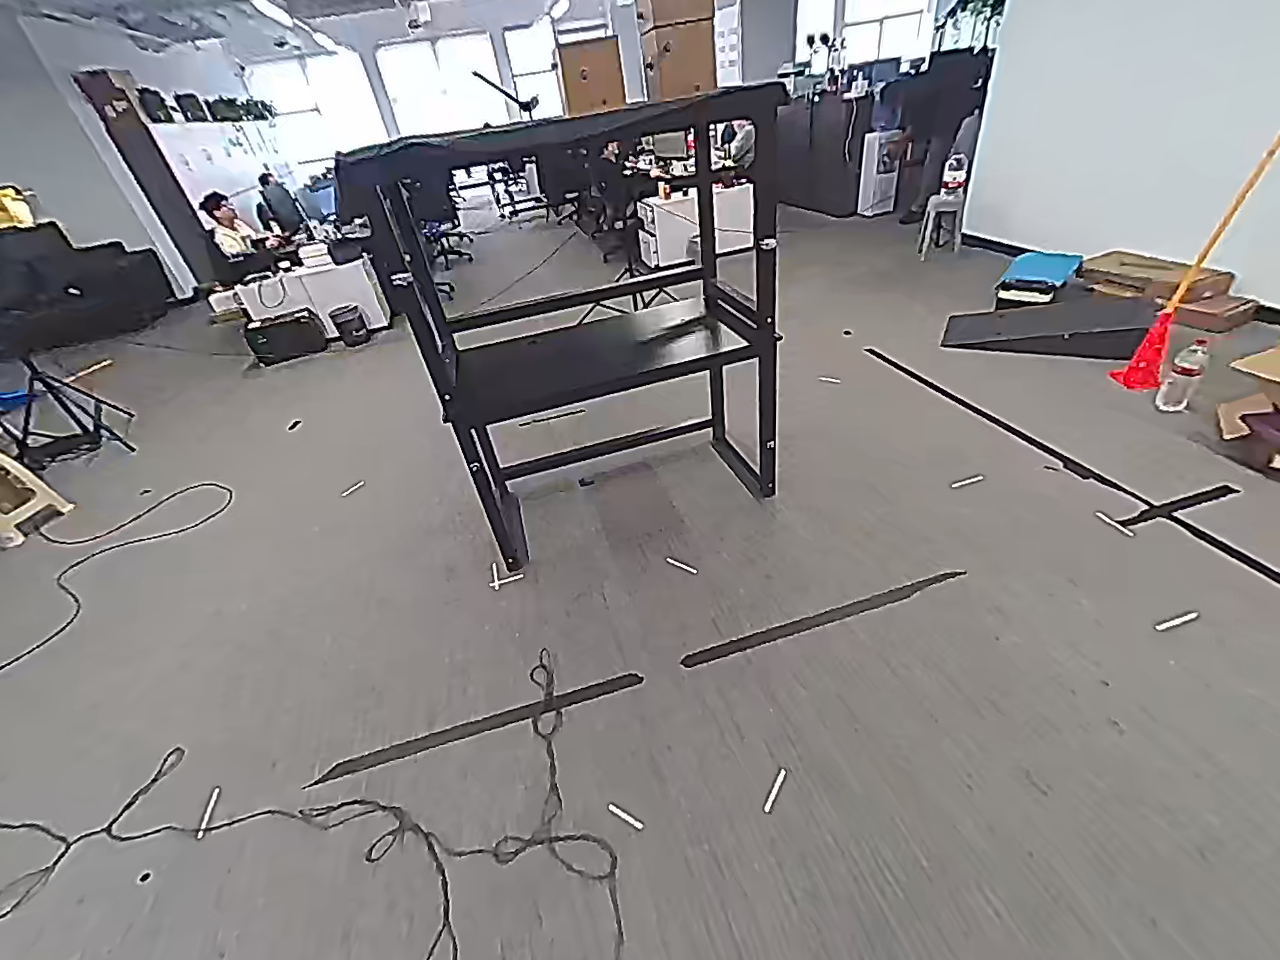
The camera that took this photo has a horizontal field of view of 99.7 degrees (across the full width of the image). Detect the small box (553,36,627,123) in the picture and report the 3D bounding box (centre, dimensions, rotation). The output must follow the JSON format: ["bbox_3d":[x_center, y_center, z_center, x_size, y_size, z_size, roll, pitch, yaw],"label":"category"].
[{"bbox_3d":[-0.140,-1.119,1.519,0.168,0.176,0.179,-14,34,-6],"label":"small box"}]

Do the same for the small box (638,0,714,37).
[{"bbox_3d":[0.090,-1.308,1.443,0.179,0.176,0.168,-16,33,-7],"label":"small box"}]
